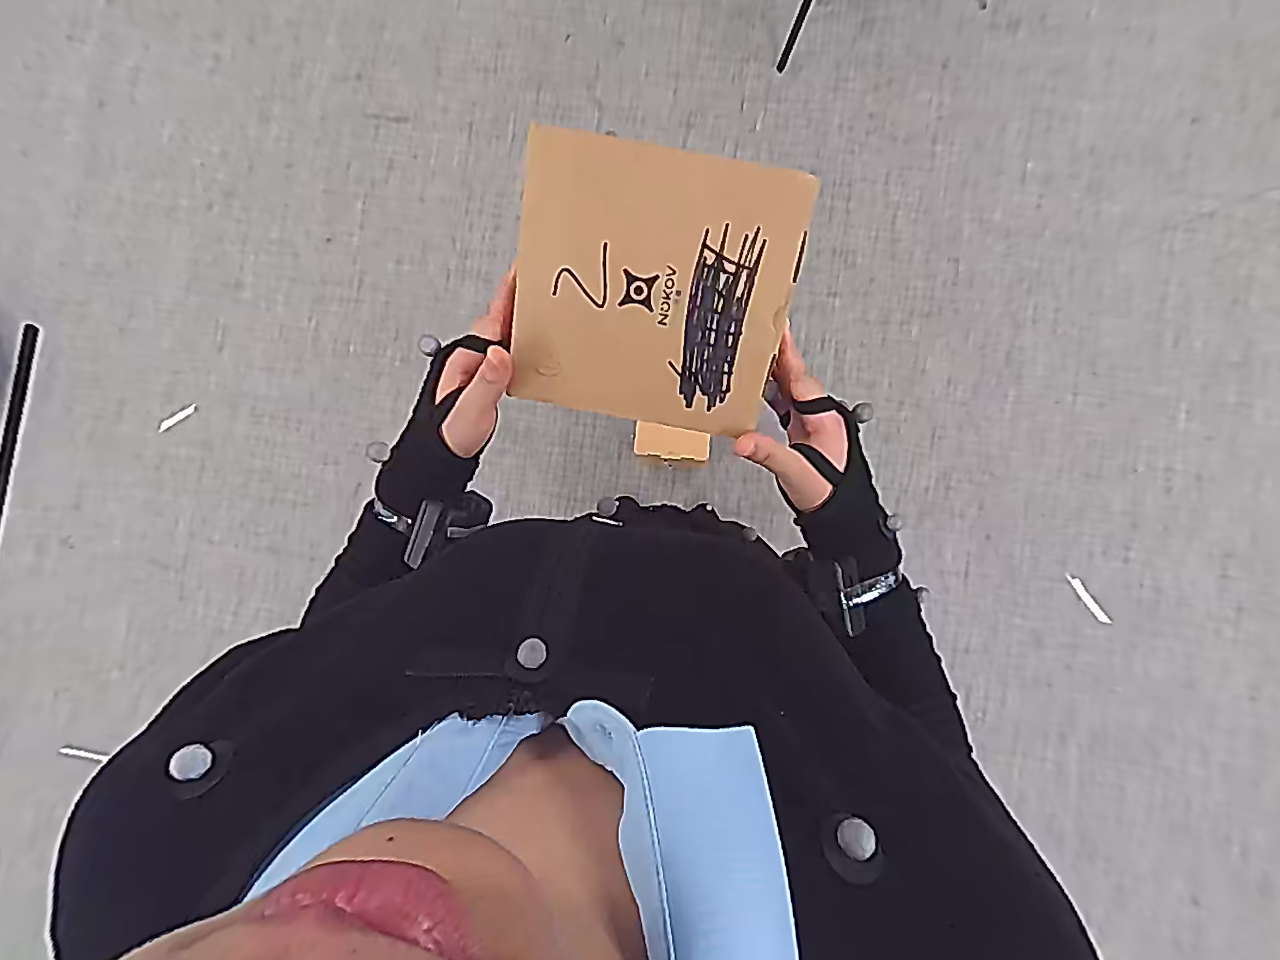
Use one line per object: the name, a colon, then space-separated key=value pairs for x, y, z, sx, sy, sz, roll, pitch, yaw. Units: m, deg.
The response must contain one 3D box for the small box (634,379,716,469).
small box: x=0.079 y=-0.125 z=1.260 sx=0.168 sy=0.176 sz=0.179 roll=6 pitch=88 yaw=4
